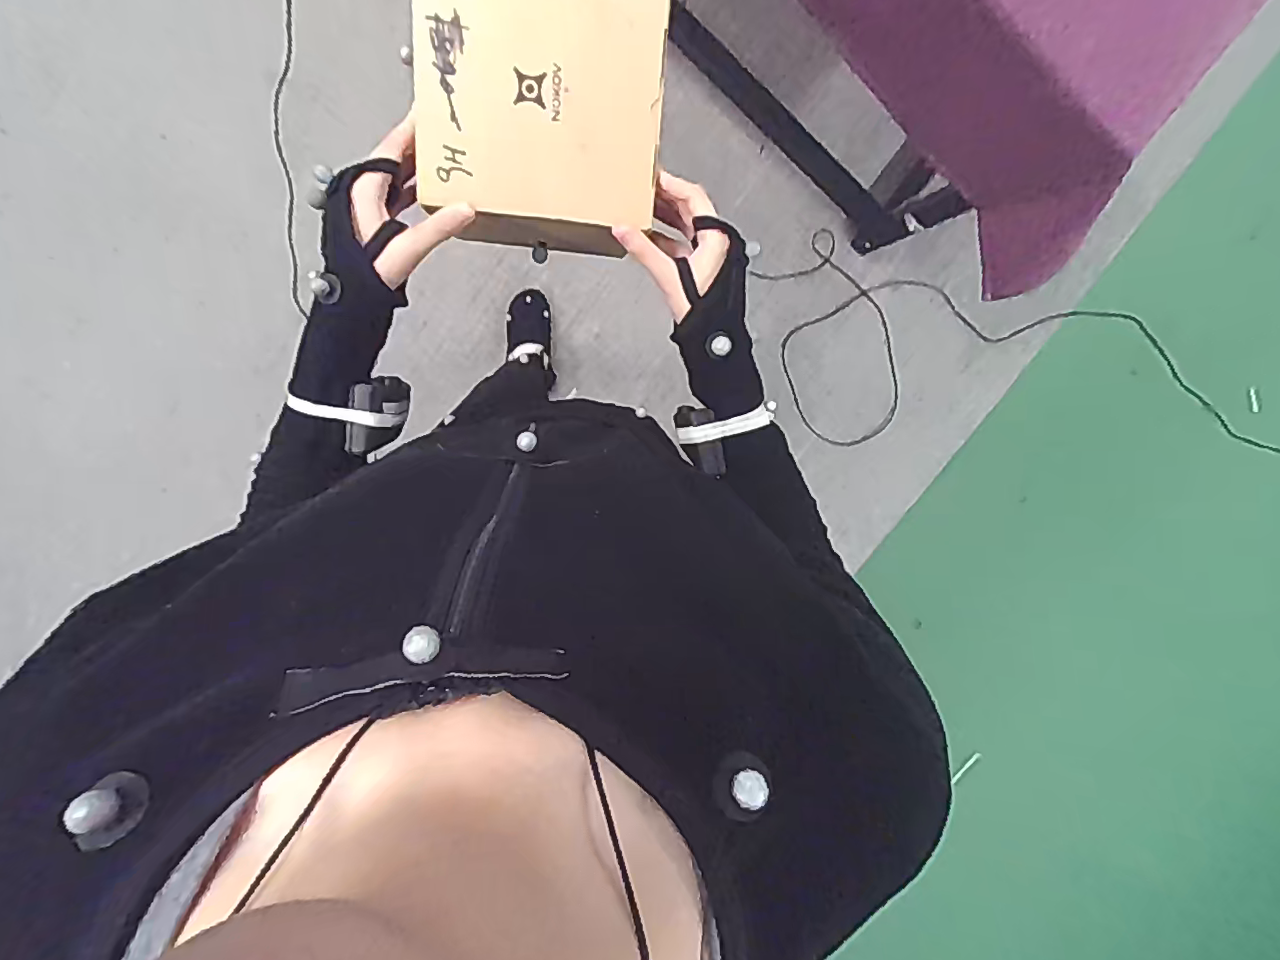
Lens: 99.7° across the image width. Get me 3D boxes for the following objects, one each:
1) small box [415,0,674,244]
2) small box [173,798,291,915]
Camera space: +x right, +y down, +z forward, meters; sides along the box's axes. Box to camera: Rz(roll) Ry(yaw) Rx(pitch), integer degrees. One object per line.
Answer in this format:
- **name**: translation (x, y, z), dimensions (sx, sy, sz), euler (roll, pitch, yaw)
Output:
- **small box**: translation (-0.081, -0.304, 0.457), dimensions (0.179, 0.176, 0.168), euler (2, 105, -11)
- **small box**: translation (-1.132, 1.049, 1.518), dimensions (0.168, 0.176, 0.179), euler (38, 94, -12)
